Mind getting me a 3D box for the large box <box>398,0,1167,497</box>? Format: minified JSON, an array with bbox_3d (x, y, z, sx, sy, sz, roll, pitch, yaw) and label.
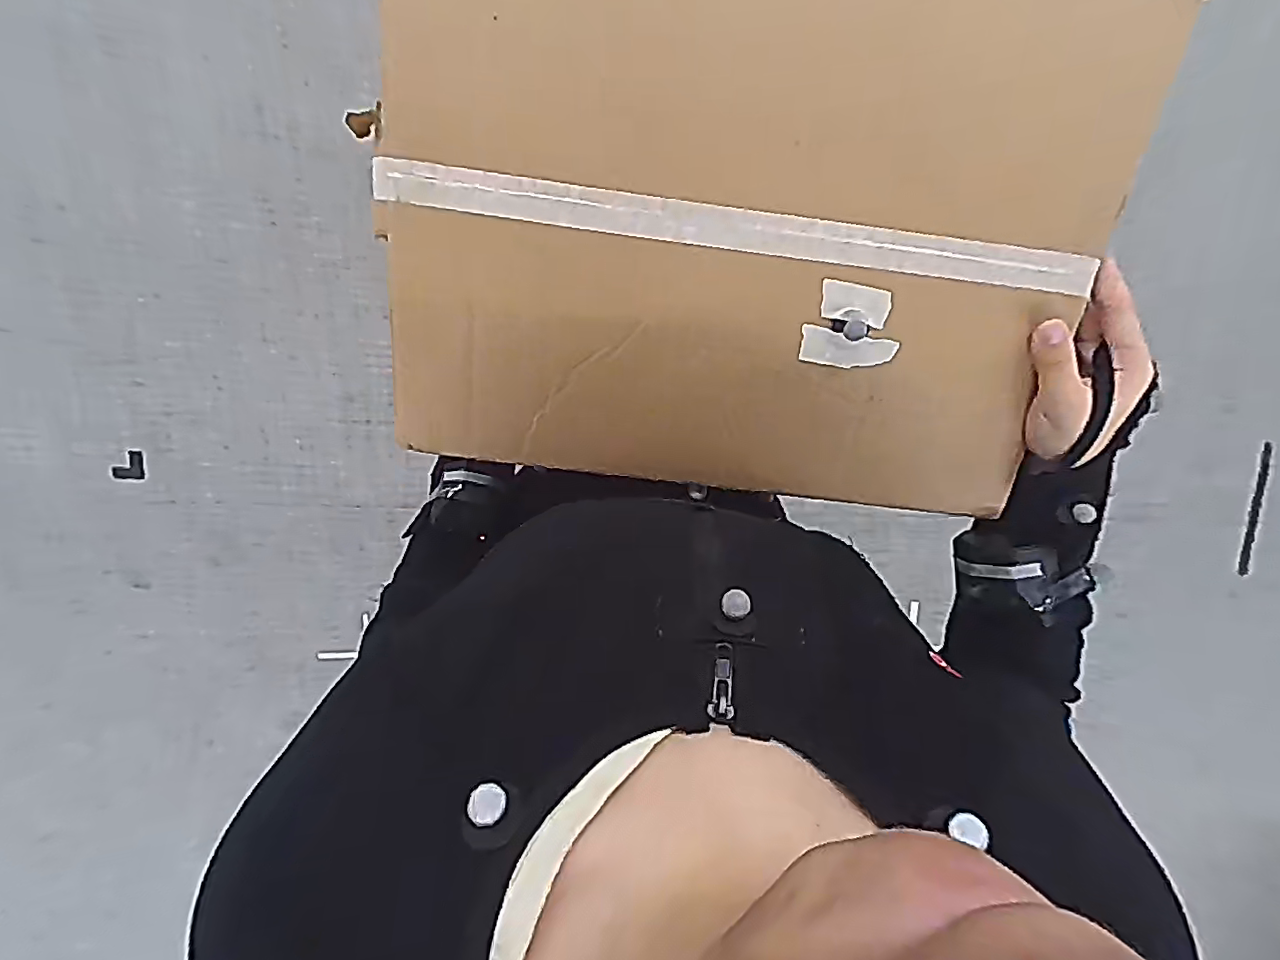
[{"bbox_3d":[0.059,-0.197,0.453,0.408,0.320,0.320,6,111,-4],"label":"large box"}]
